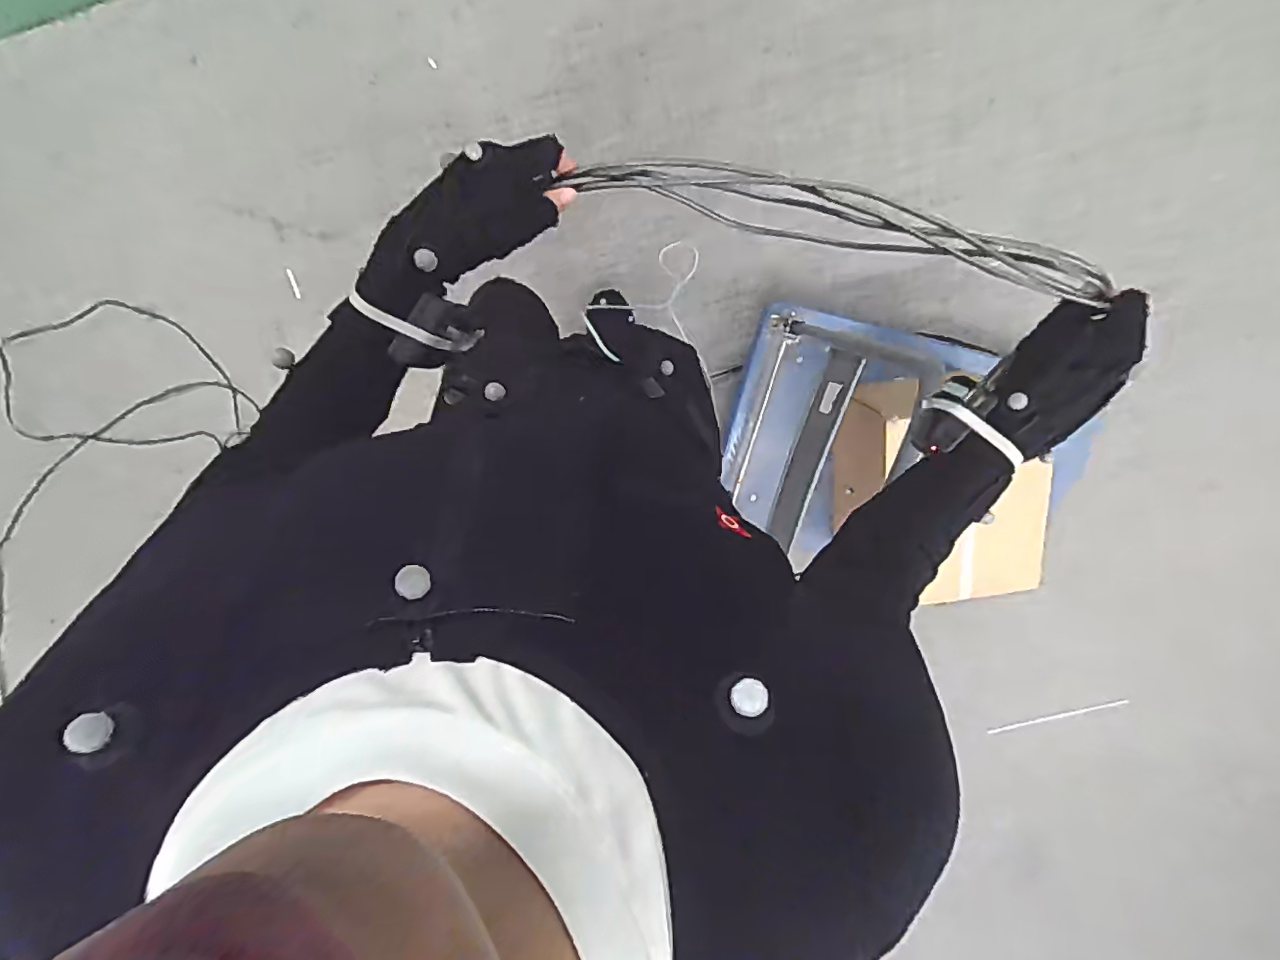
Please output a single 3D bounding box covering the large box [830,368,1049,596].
[{"bbox_3d":[0.623,-0.009,1.192,0.320,0.320,0.408,-8,109,2],"label":"large box"}]
